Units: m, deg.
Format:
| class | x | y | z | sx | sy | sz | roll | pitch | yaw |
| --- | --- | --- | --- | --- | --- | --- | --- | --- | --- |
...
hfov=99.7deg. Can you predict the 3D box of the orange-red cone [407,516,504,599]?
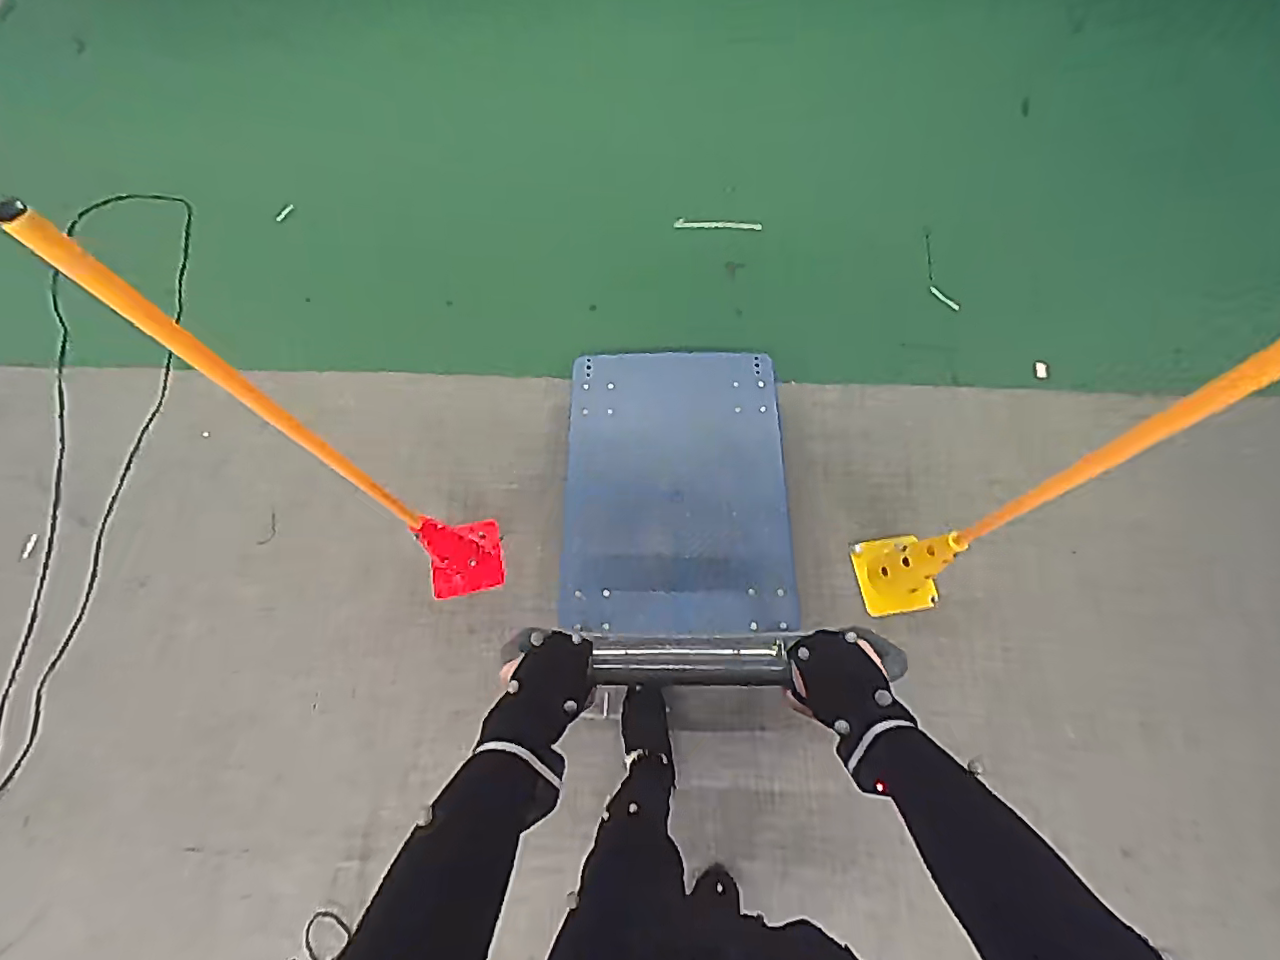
| class | x | y | z | sx | sy | sz | roll | pitch | yaw |
| --- | --- | --- | --- | --- | --- | --- | --- | --- | --- |
| orange-red cone | -0.495 | 0.164 | 1.364 | 0.199 | 0.360 | 0.198 | -12 | 68 | -2 |
